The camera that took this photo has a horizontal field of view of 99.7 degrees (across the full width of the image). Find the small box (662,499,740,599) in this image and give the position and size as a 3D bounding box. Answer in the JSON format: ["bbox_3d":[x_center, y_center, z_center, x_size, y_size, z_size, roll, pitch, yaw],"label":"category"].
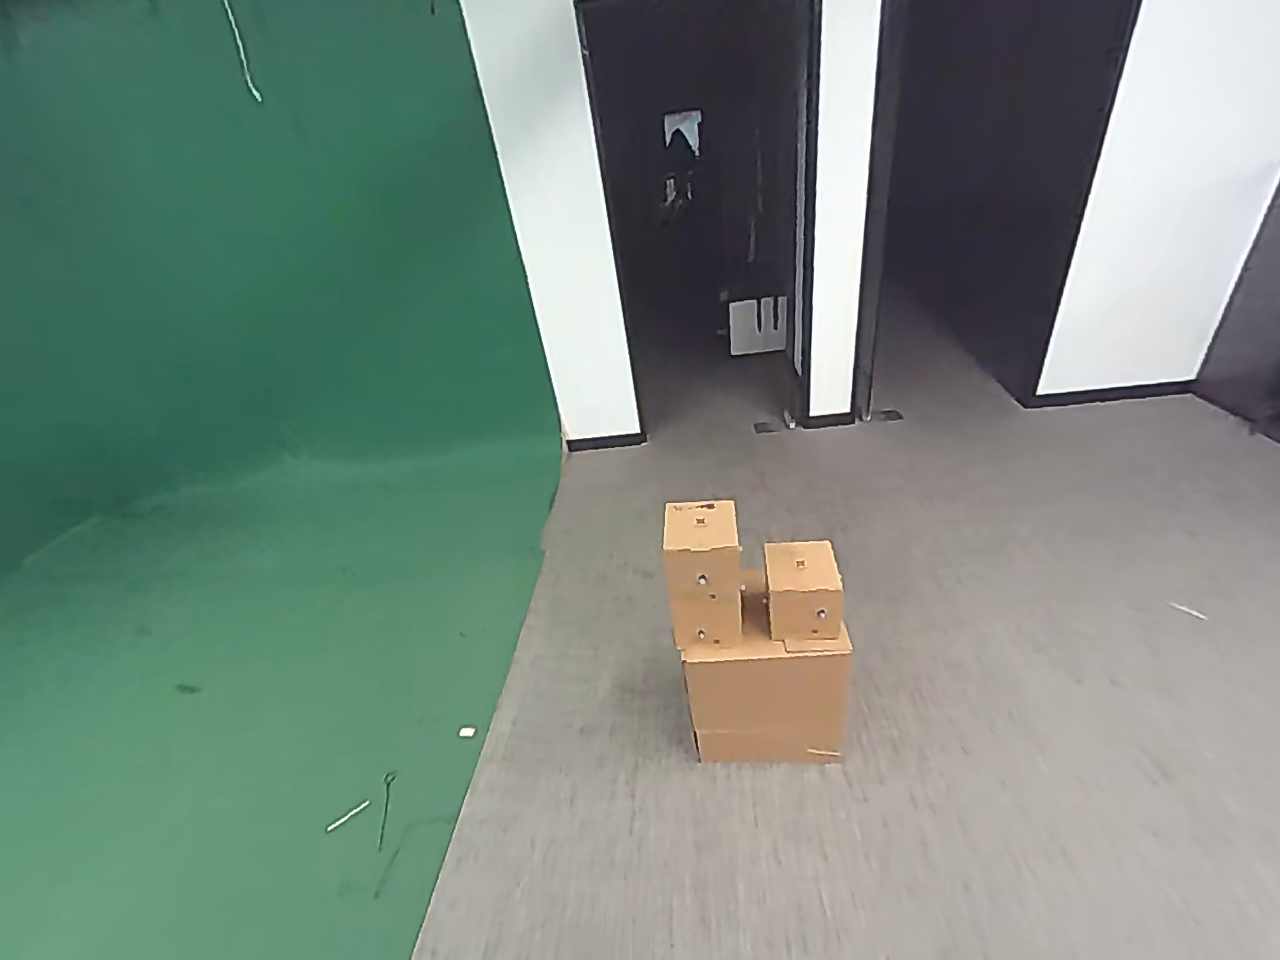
[{"bbox_3d":[0.147,0.166,1.277,0.168,0.176,0.179,-3,35,8],"label":"small box"}]

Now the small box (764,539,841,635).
[{"bbox_3d":[0.403,0.269,1.349,0.168,0.176,0.179,-4,32,11],"label":"small box"}]

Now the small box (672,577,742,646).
[{"bbox_3d":[0.169,0.298,1.371,0.168,0.176,0.179,-4,34,7],"label":"small box"}]
